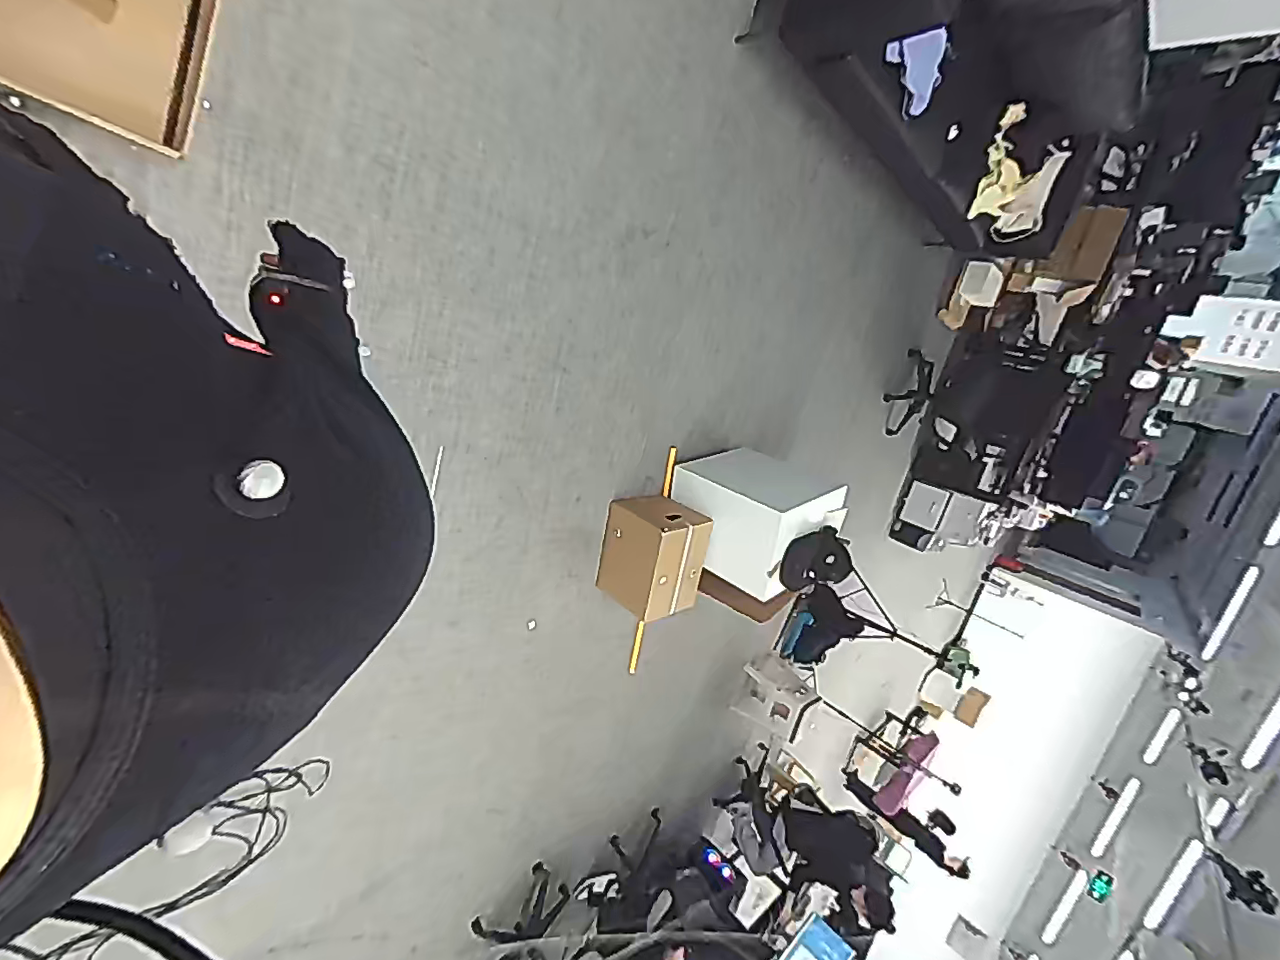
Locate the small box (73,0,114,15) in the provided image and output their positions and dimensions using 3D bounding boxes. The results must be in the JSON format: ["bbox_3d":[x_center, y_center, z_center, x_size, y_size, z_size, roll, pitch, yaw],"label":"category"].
[{"bbox_3d":[-0.844,-0.821,0.769,0.168,0.176,0.179,13,98,-50],"label":"small box"}]
